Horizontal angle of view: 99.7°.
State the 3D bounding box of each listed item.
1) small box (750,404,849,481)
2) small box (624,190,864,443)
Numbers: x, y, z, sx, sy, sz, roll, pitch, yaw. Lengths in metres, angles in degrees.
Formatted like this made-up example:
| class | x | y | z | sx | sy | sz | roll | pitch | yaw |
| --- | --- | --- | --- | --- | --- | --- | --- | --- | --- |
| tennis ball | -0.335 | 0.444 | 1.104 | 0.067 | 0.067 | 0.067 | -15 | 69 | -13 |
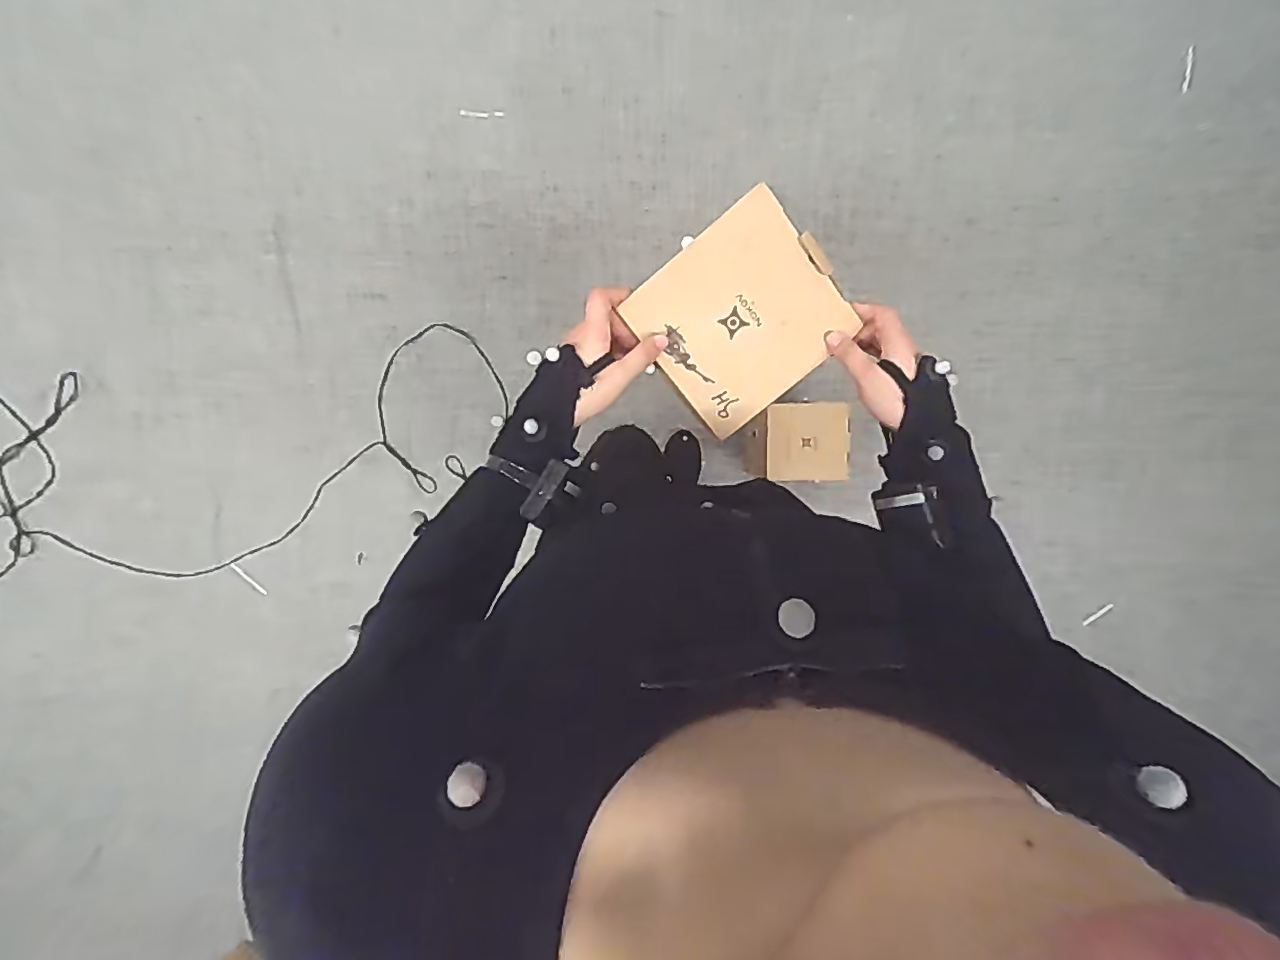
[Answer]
| class | x | y | z | sx | sy | sz | roll | pitch | yaw |
| --- | --- | --- | --- | --- | --- | --- | --- | --- | --- |
| small box | 0.353 | -0.089 | 1.224 | 0.179 | 0.176 | 0.168 | -1 | 97 | 1 |
| small box | 0.097 | -0.168 | 0.588 | 0.179 | 0.176 | 0.168 | -39 | 101 | 8 |
